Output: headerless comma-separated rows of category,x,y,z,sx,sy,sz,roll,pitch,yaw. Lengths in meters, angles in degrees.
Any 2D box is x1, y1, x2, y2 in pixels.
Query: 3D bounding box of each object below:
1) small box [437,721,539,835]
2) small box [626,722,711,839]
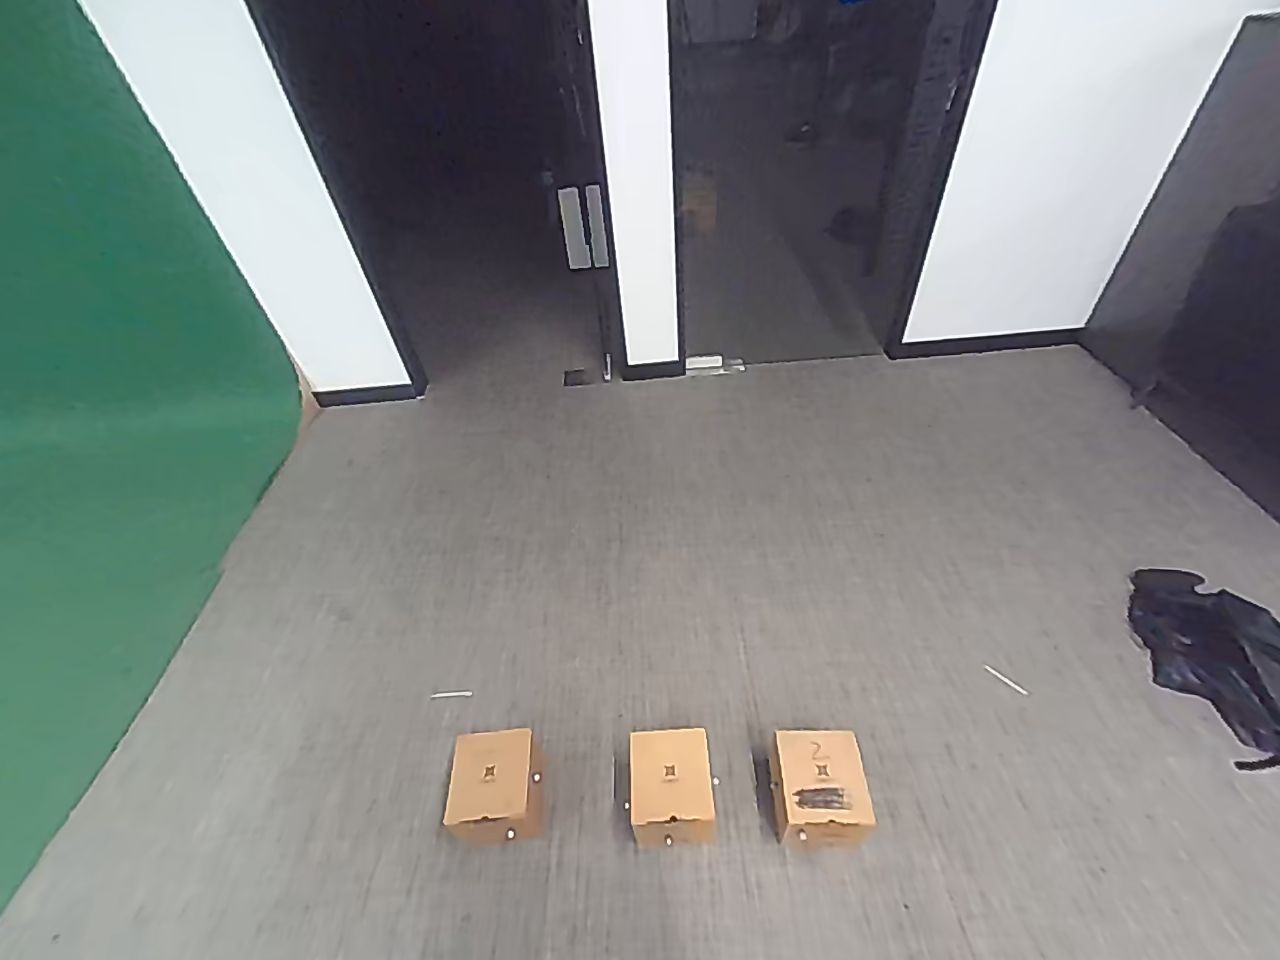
small box,-0.319,0.650,1.172,0.168,0.176,0.179,-5,43,-1
small box,0.056,0.638,1.150,0.168,0.176,0.179,-4,45,1
